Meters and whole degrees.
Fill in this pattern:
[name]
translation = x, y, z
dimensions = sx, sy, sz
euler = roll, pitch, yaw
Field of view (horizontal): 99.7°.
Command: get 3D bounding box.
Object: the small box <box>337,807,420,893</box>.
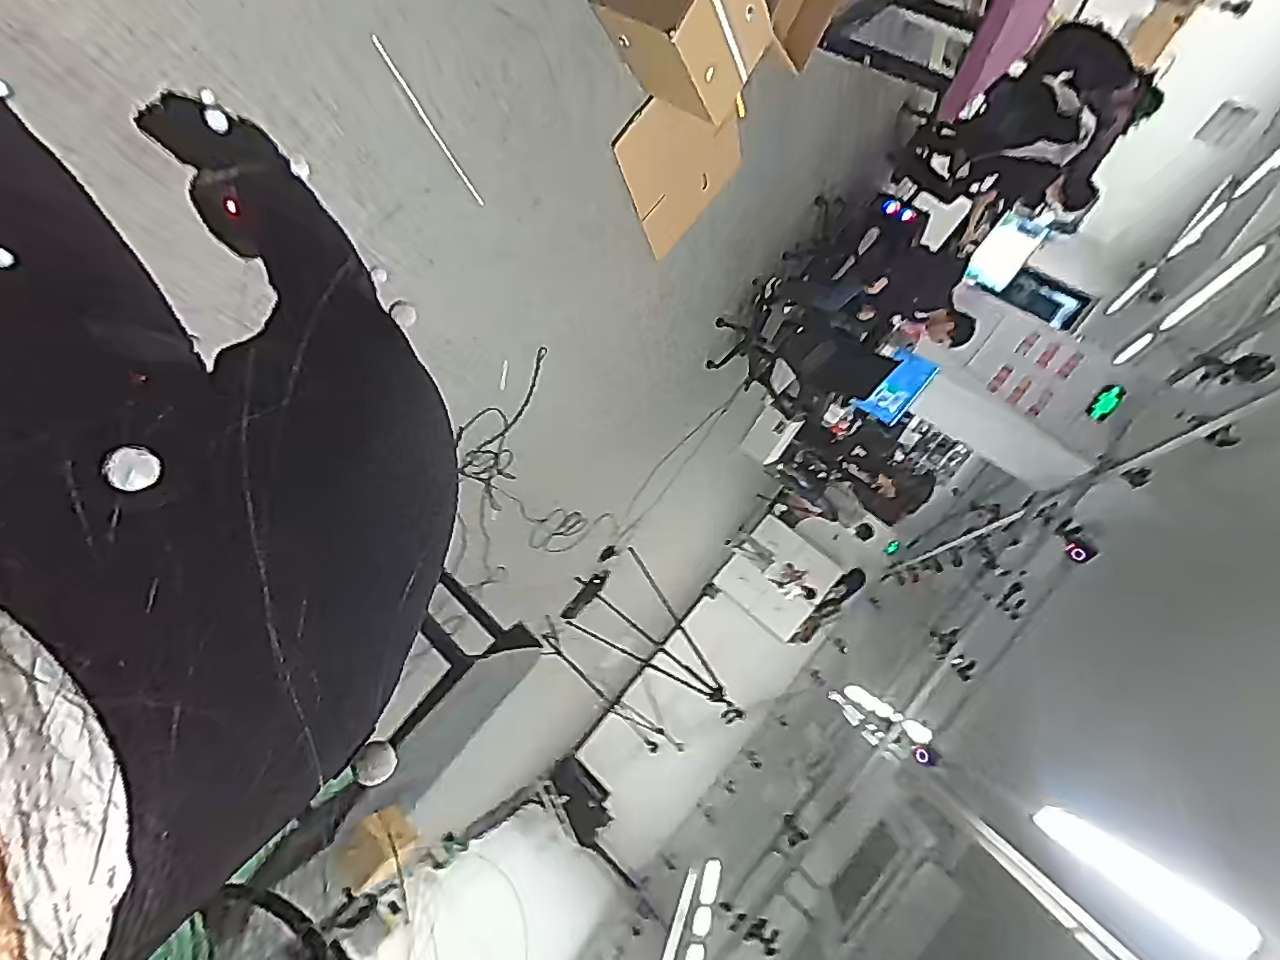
[small box]
translation = -0.953, 1.337, 1.972
dimensions = 0.168, 0.176, 0.179
euler = -51, 161, -3
